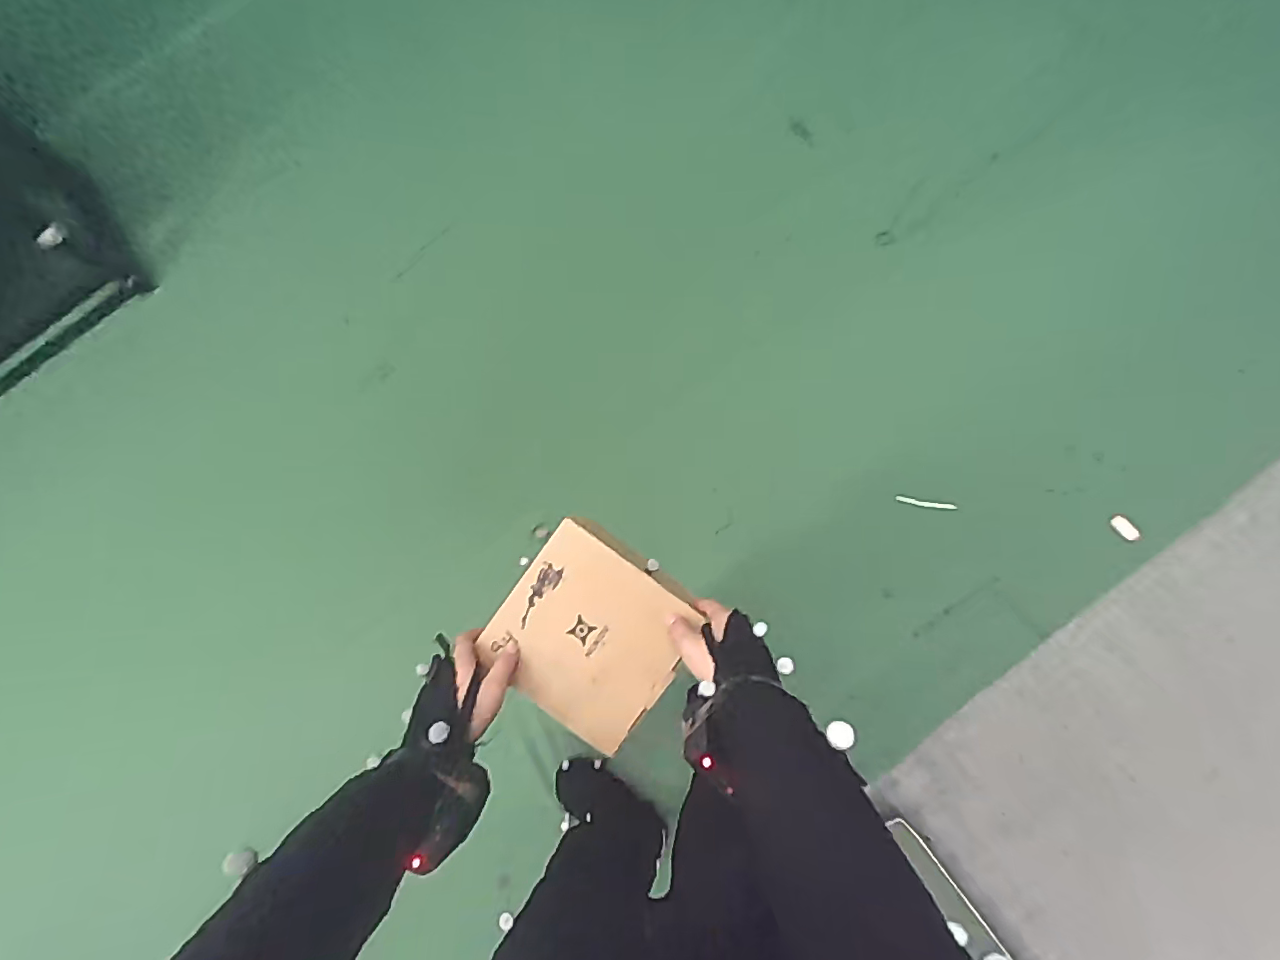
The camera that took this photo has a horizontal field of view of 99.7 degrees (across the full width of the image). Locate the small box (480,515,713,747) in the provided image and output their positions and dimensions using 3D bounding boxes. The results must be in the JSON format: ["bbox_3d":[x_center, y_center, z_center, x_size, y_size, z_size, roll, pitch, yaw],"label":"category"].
[{"bbox_3d":[-0.042,0.151,0.612,0.179,0.176,0.168,37,87,2],"label":"small box"}]
